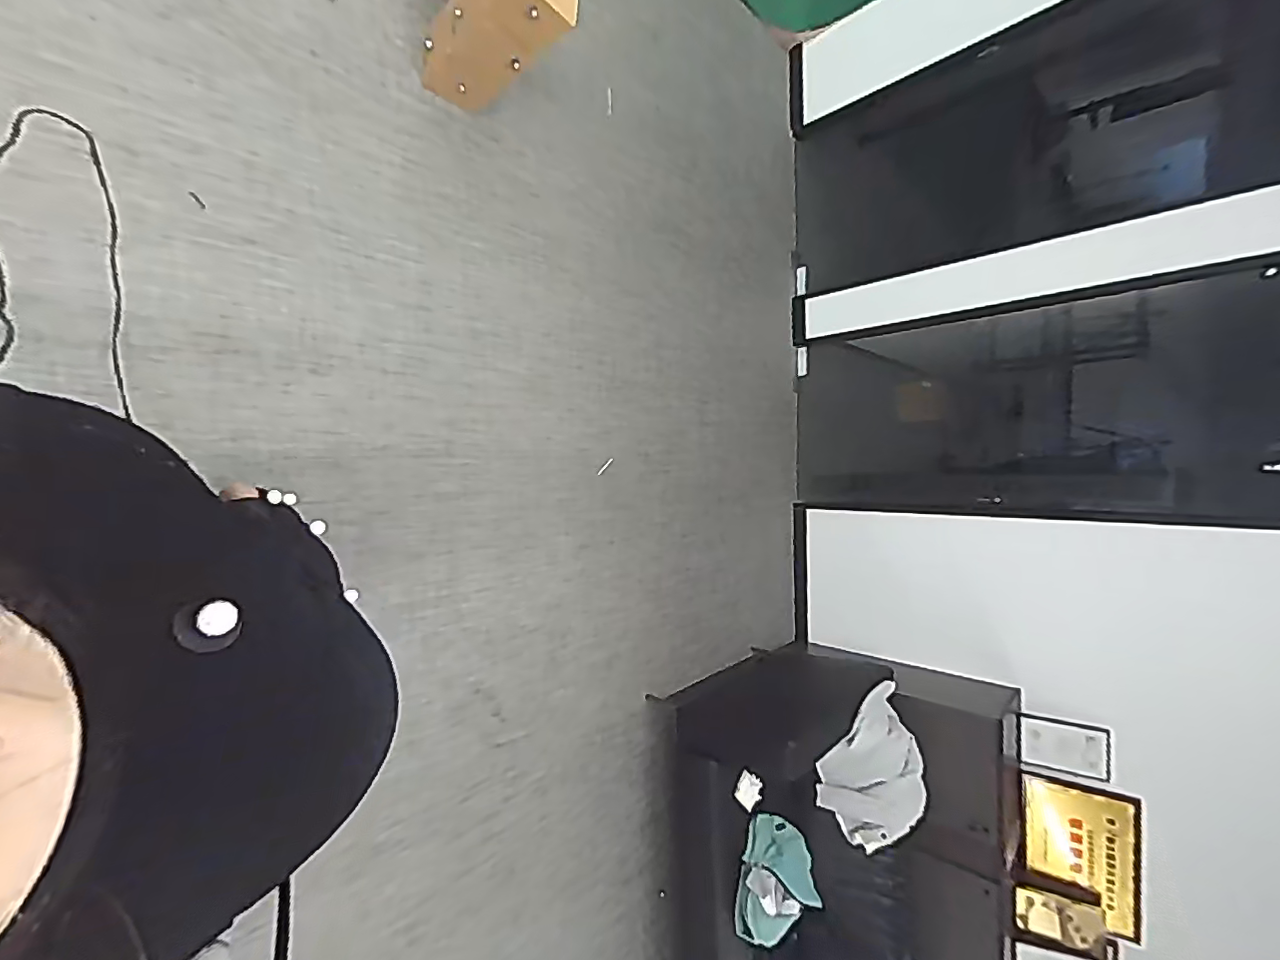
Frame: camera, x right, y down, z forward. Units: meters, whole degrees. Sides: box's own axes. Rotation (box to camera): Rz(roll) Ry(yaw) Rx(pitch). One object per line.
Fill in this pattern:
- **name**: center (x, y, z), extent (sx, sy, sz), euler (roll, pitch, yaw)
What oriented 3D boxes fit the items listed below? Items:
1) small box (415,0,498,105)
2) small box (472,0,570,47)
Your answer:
- **small box**: center (-0.525, -1.231, 1.562), extent (0.179, 0.176, 0.168), euler (7, 86, -46)
- **small box**: center (-0.288, -1.225, 1.336), extent (0.179, 0.176, 0.168), euler (7, 86, -46)
